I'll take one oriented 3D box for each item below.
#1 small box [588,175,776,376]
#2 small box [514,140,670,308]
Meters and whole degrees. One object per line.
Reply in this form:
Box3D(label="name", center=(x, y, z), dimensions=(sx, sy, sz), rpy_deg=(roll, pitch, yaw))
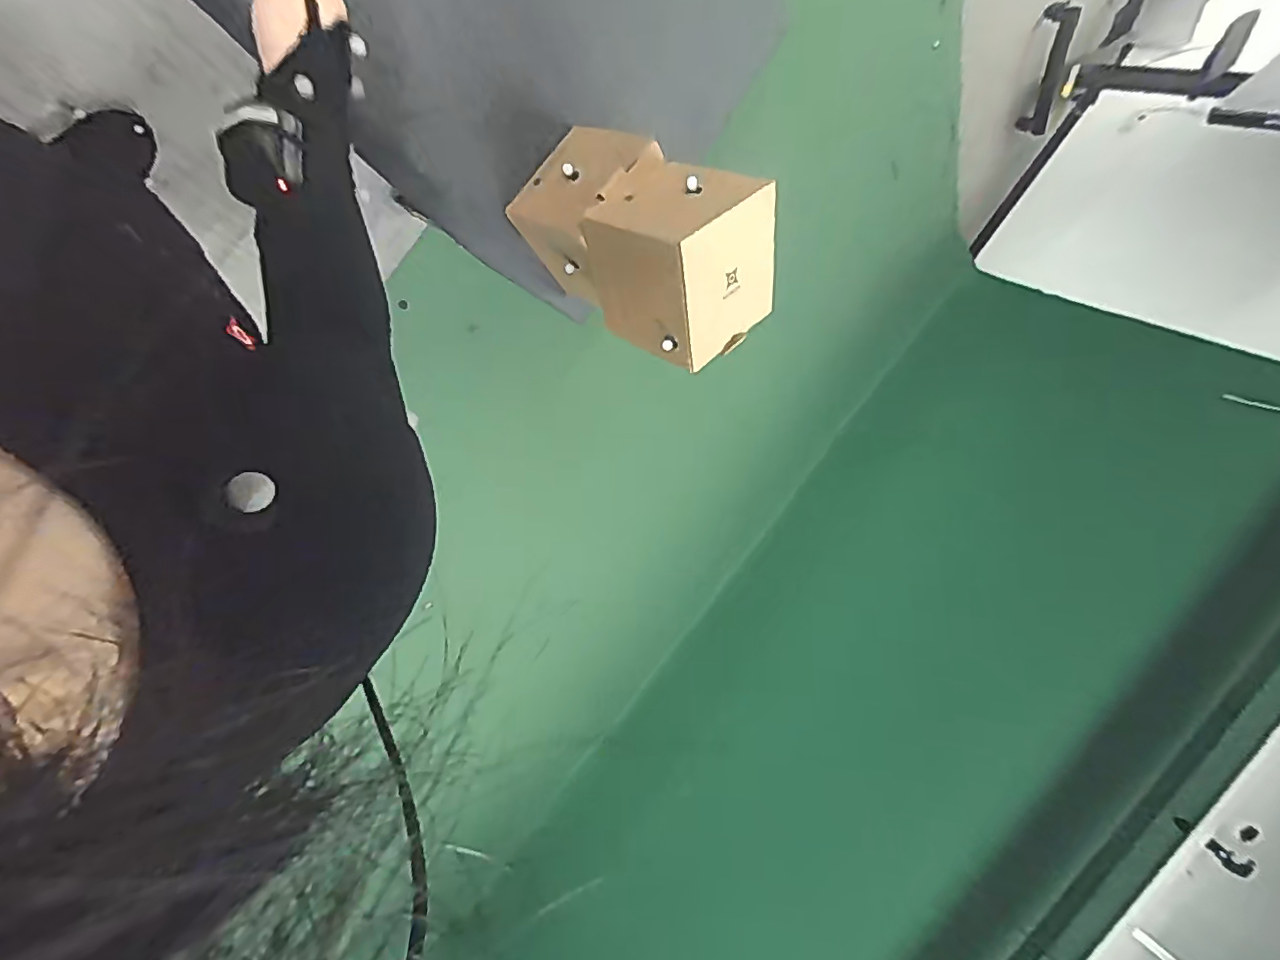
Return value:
Box3D(label="small box", center=(0.055, -0.270, 0.696), dimensions=(0.168, 0.176, 0.179), rpy_deg=(-41, 144, -22))
Box3D(label="small box", center=(-0.048, -0.361, 0.786), dimensions=(0.168, 0.176, 0.179), rpy_deg=(-53, 145, -4))
